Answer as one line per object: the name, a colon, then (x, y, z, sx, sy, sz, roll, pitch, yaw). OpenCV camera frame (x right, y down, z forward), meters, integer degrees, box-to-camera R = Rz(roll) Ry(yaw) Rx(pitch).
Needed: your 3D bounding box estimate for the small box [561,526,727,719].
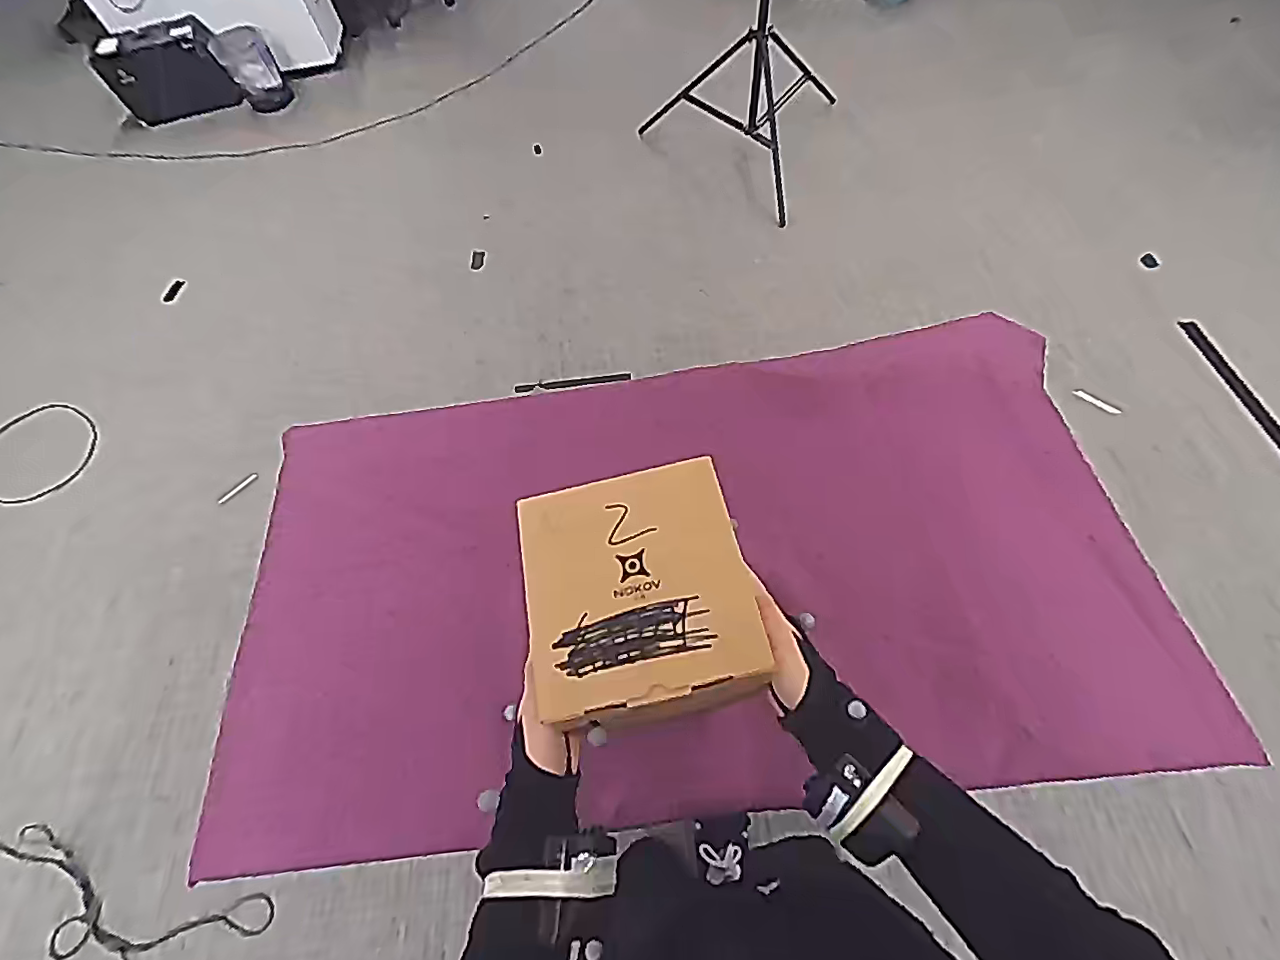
small box: (0.005, 0.173, 0.636, 0.168, 0.176, 0.179, -6, 61, 3)
